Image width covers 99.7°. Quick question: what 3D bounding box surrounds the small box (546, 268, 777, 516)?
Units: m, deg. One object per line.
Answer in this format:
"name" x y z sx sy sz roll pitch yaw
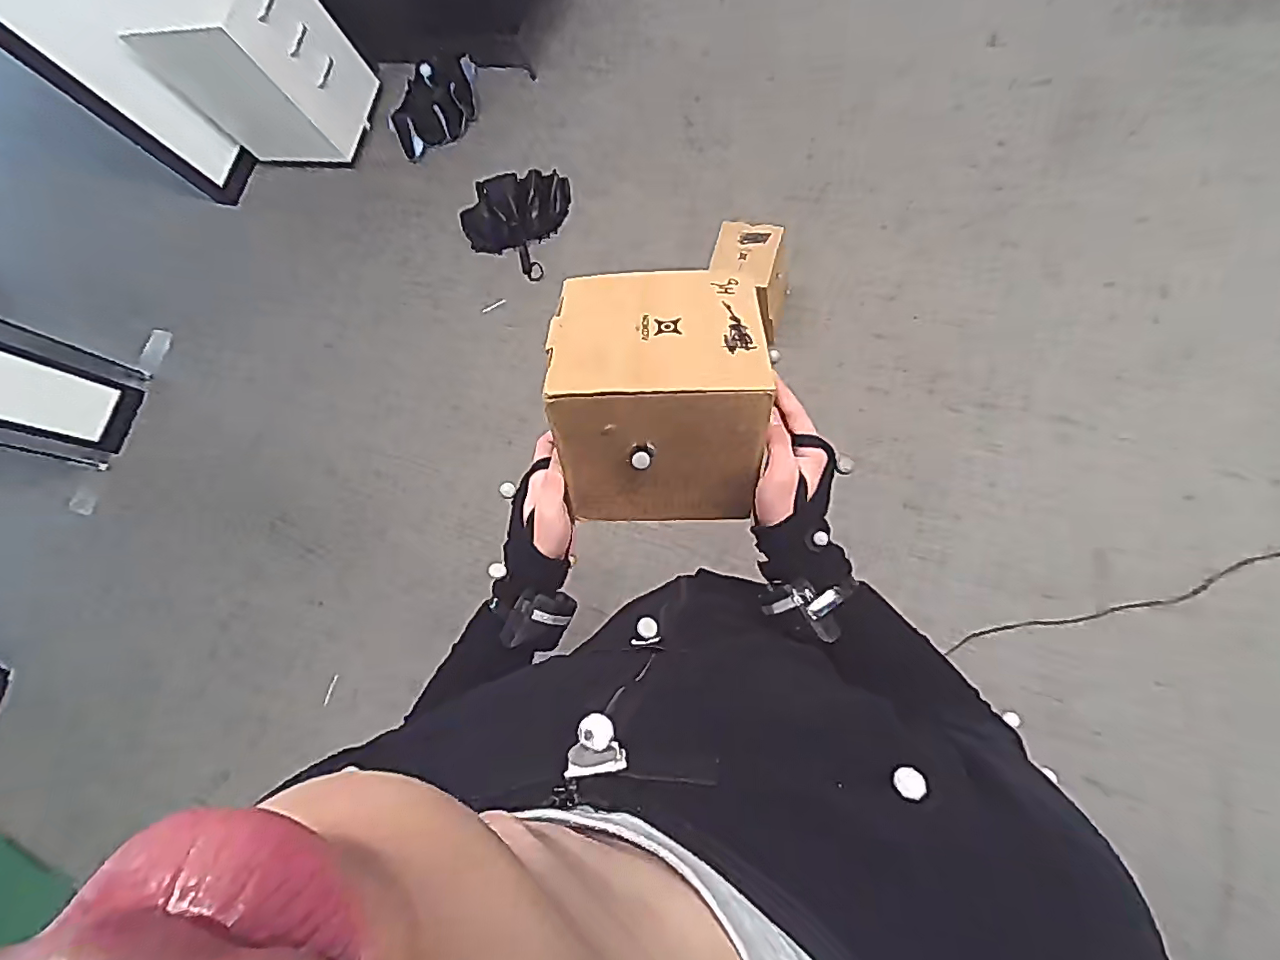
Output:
"small box" 0.022 -0.077 0.510 0.179 0.176 0.168 -1 52 3

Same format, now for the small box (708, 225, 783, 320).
"small box" 0.288 -0.561 1.475 0.168 0.176 0.179 14 82 18

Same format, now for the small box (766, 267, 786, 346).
"small box" 0.339 -0.526 1.628 0.168 0.176 0.179 13 82 19
